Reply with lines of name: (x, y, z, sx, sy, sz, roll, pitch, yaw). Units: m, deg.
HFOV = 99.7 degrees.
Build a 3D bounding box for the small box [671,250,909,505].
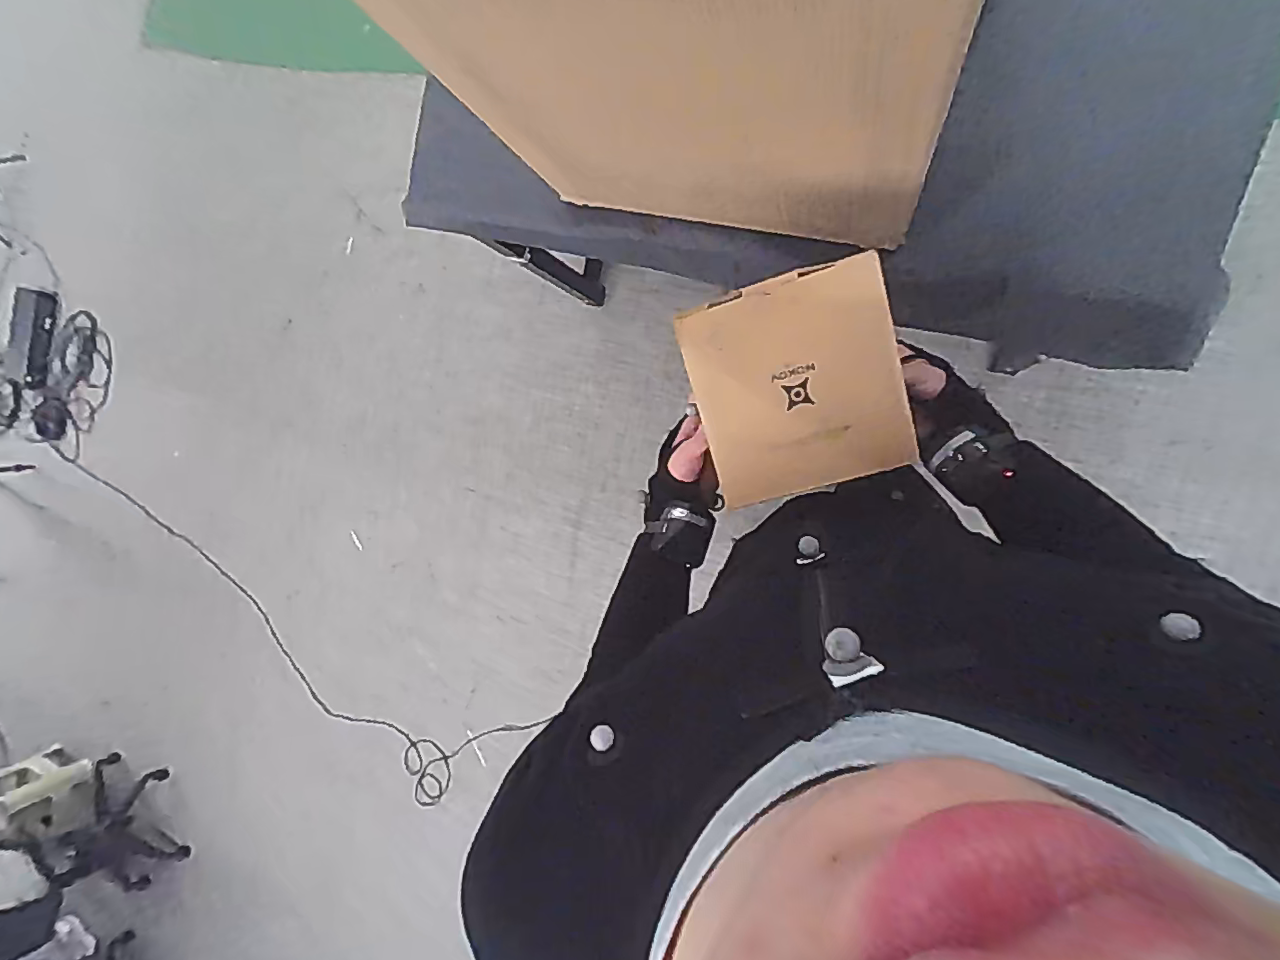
small box: (0.135, -0.098, 0.522, 0.168, 0.176, 0.179, -14, 104, 13)
